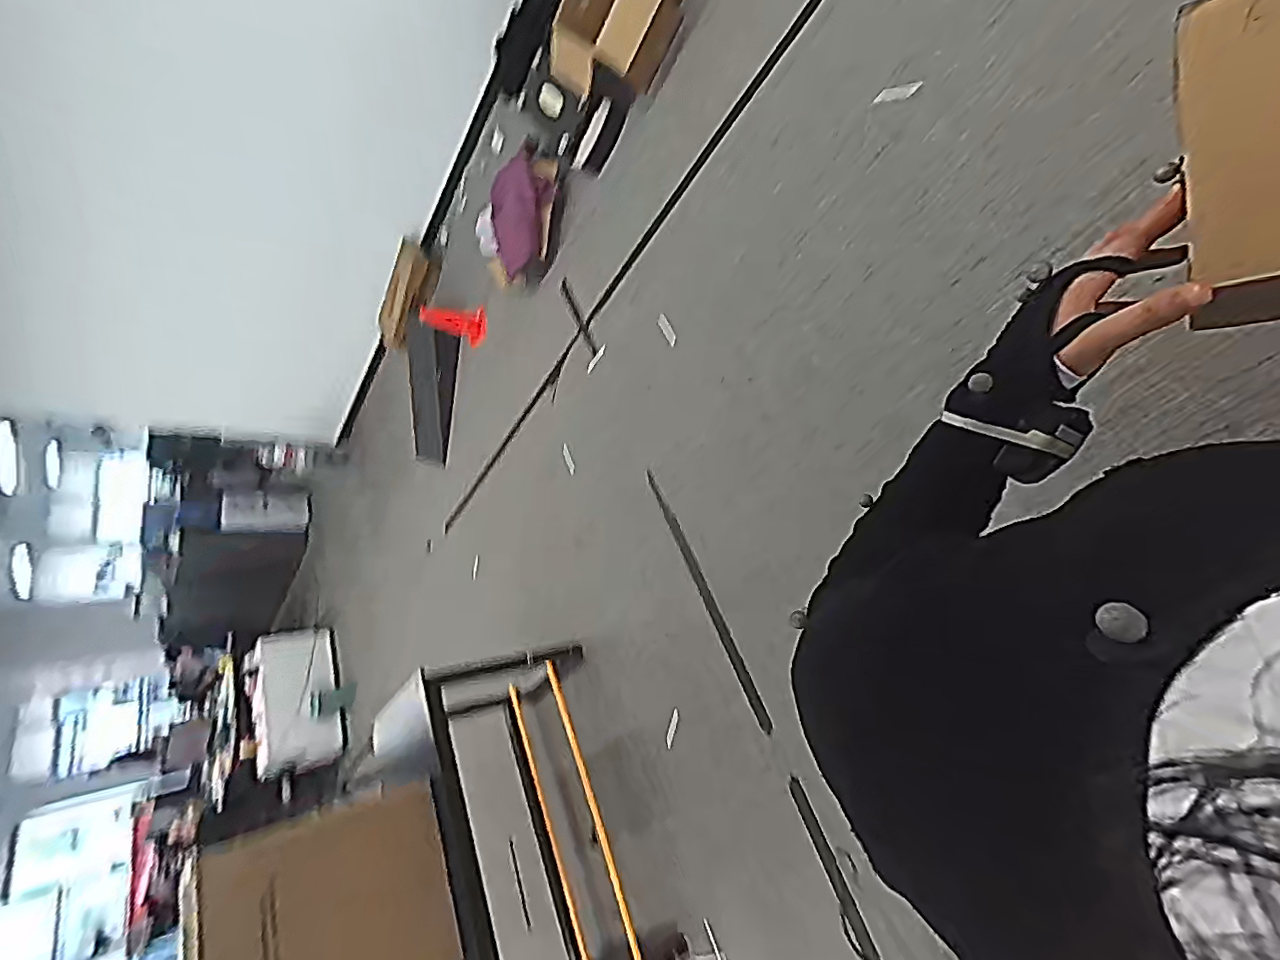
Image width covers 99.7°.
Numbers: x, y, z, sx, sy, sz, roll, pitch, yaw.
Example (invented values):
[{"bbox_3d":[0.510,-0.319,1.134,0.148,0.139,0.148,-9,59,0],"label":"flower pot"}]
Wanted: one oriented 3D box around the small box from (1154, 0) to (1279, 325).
[{"bbox_3d":[0.429,-0.210,0.327,0.168,0.176,0.179,-5,89,45],"label":"small box"}]
